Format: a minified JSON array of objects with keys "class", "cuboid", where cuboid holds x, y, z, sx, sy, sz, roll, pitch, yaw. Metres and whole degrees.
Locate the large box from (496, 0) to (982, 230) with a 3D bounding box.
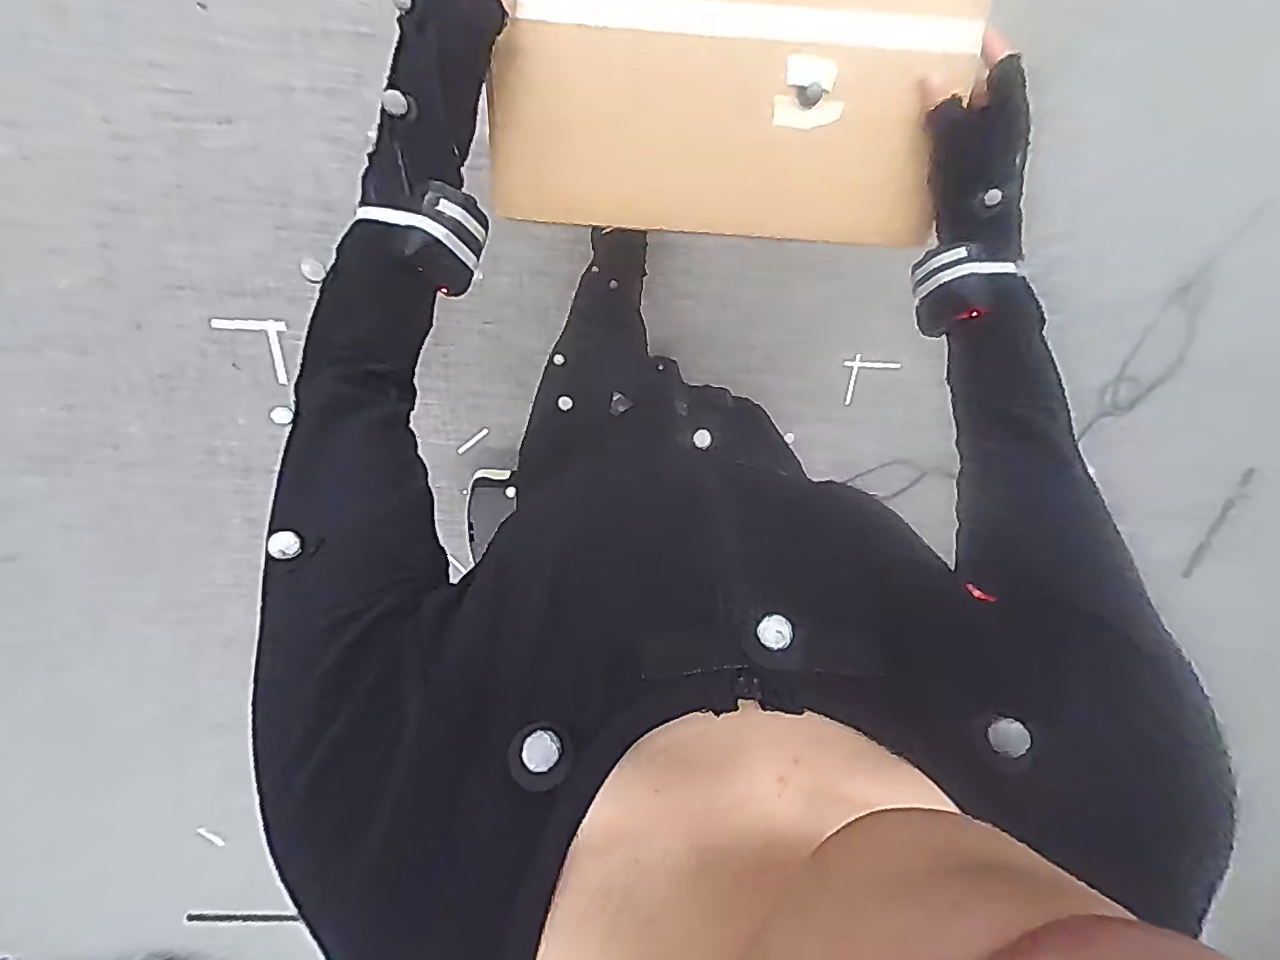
[{"class":"large box","cuboid":[0.075,-0.447,0.575,0.408,0.320,0.320,2,117,-3]}]
